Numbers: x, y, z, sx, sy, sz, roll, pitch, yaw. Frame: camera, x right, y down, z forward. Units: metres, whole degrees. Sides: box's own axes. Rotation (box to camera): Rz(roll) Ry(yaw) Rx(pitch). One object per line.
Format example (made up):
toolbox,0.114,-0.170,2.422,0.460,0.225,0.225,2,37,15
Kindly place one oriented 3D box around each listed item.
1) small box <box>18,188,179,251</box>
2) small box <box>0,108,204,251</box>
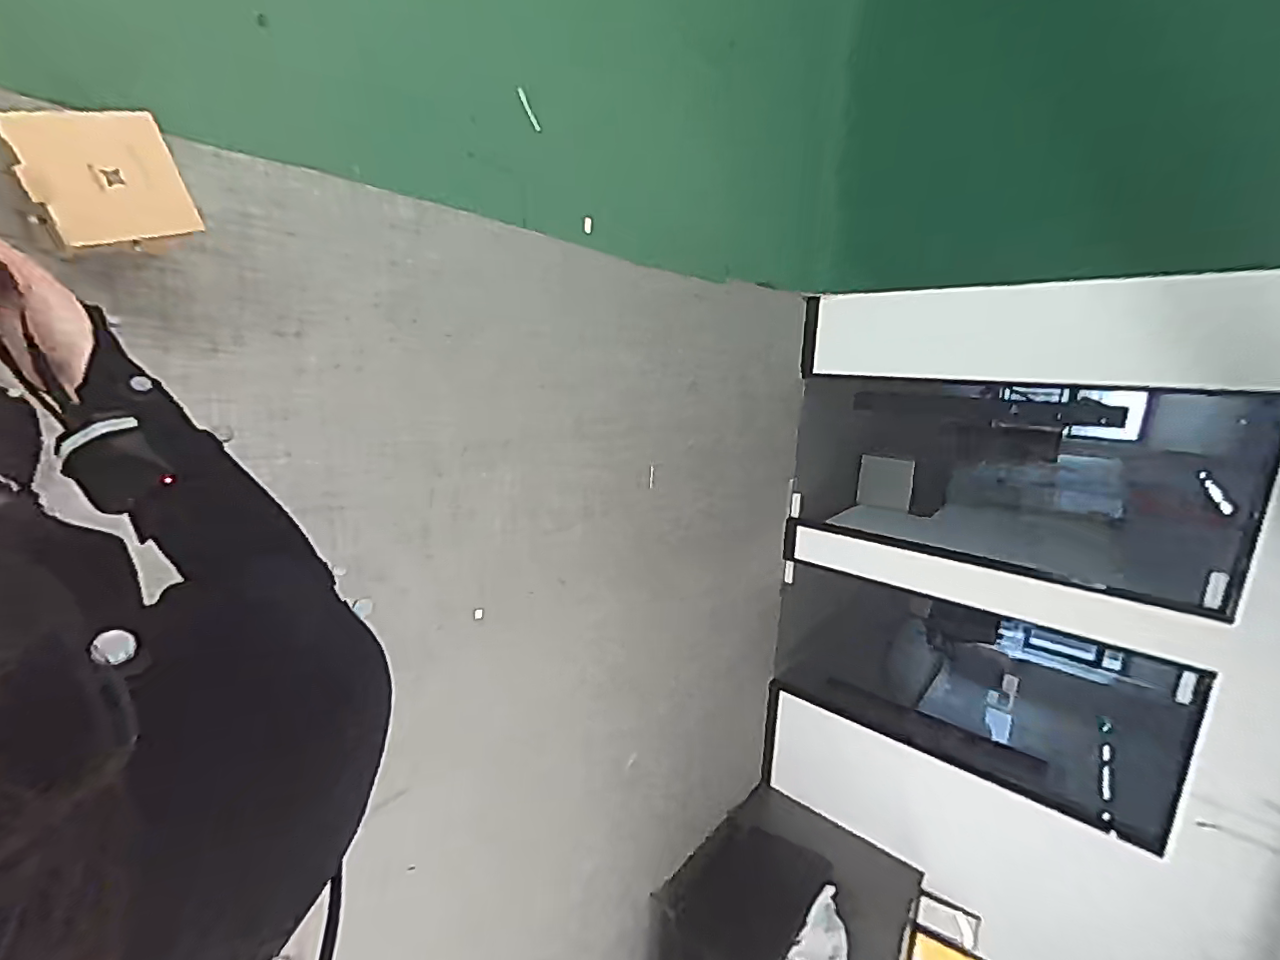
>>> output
small box,-0.944,-0.494,0.933,0.179,0.176,0.168,-21,116,-46
small box,-0.827,-0.454,0.828,0.179,0.176,0.168,-36,128,-40
